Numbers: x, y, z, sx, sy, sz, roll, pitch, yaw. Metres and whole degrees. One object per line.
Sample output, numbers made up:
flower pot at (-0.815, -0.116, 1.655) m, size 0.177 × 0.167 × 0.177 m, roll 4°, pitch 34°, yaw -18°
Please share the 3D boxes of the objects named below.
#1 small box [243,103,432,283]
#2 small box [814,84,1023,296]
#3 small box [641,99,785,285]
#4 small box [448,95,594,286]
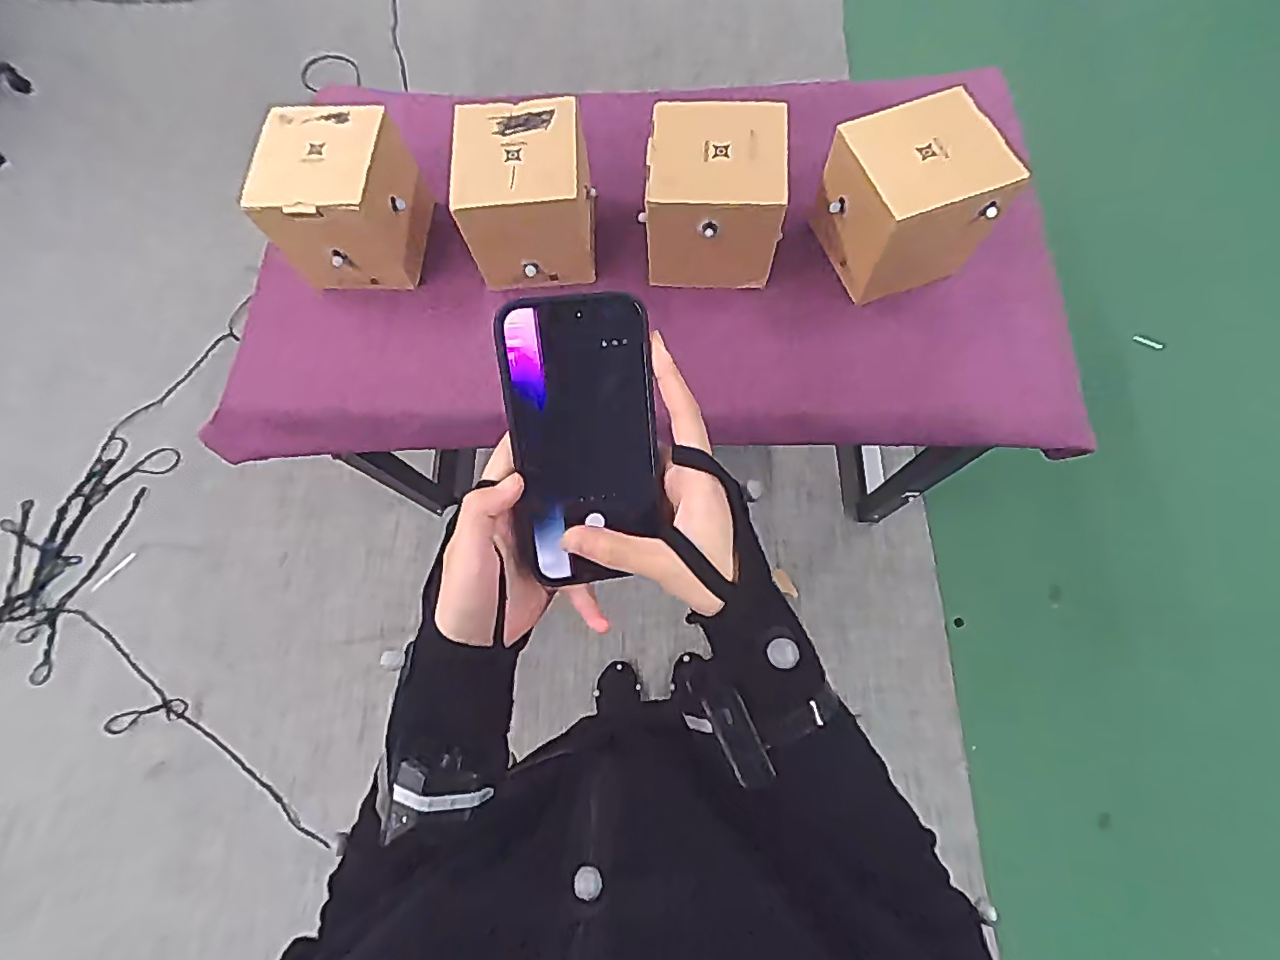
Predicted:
small box at (-0.427, -0.410, 0.796) m, size 0.168 × 0.176 × 0.179 m, roll 2°, pitch 73°, yaw 4°
small box at (0.357, -0.383, 0.741) m, size 0.179 × 0.176 × 0.168 m, roll -19°, pitch 72°, yaw -3°
small box at (0.100, -0.395, 0.761) m, size 0.179 × 0.176 × 0.168 m, roll 4°, pitch 74°, yaw 4°
small box at (-0.159, -0.407, 0.779) m, size 0.168 × 0.176 × 0.179 m, roll -3°, pitch 73°, yaw 3°
